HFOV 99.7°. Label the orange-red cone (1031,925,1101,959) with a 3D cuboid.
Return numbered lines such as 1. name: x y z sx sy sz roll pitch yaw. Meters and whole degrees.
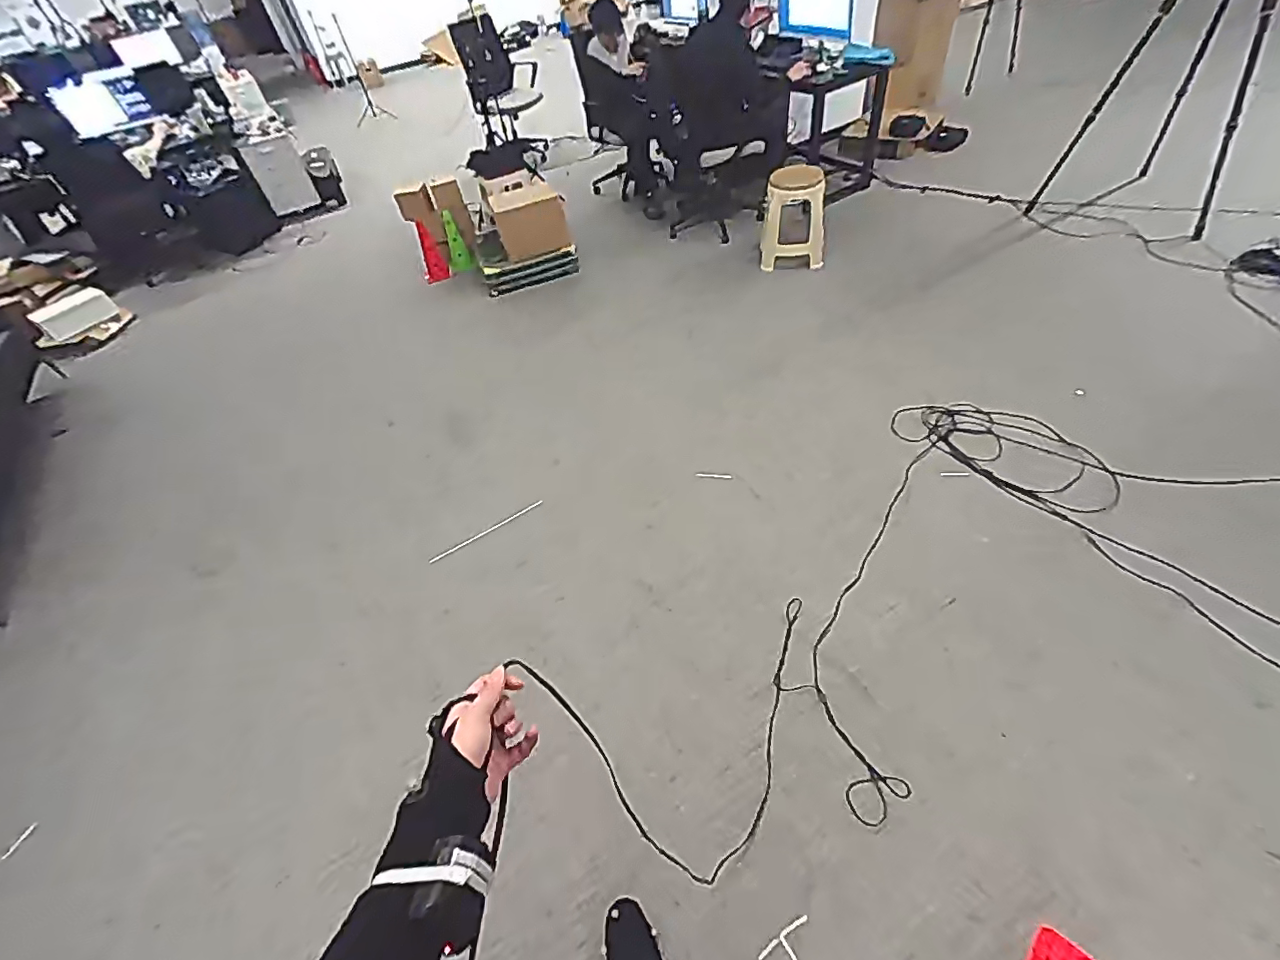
1. orange-red cone: 0.857 0.924 0.940 0.198 0.360 0.199 33 59 32
